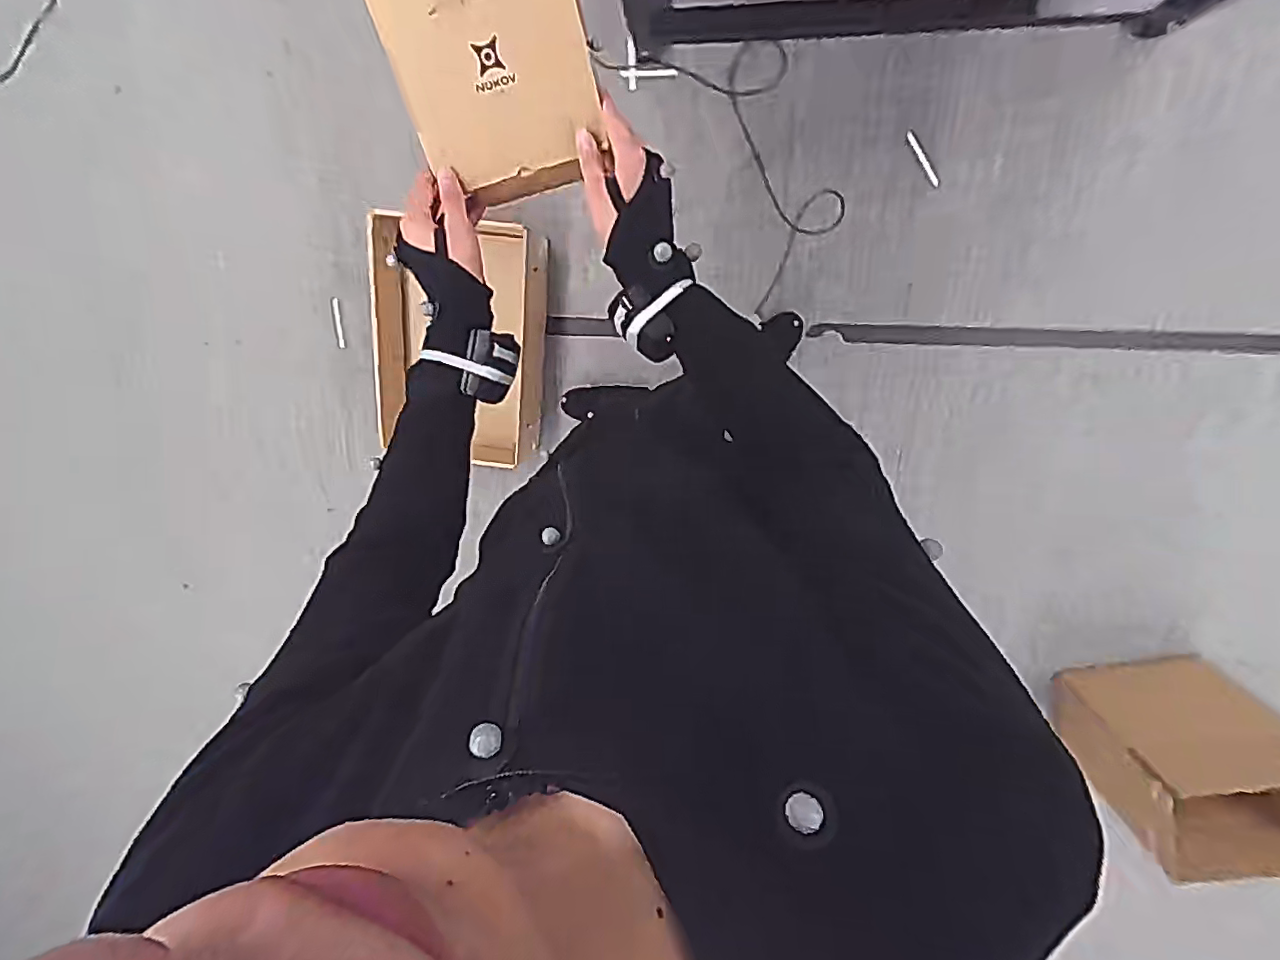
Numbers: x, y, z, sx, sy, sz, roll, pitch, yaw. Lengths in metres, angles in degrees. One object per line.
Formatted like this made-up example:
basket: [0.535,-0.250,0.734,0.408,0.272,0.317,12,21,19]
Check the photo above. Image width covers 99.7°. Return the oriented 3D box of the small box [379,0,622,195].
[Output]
small box: [-0.115,-0.390,0.511,0.168,0.176,0.179,-12,120,6]
